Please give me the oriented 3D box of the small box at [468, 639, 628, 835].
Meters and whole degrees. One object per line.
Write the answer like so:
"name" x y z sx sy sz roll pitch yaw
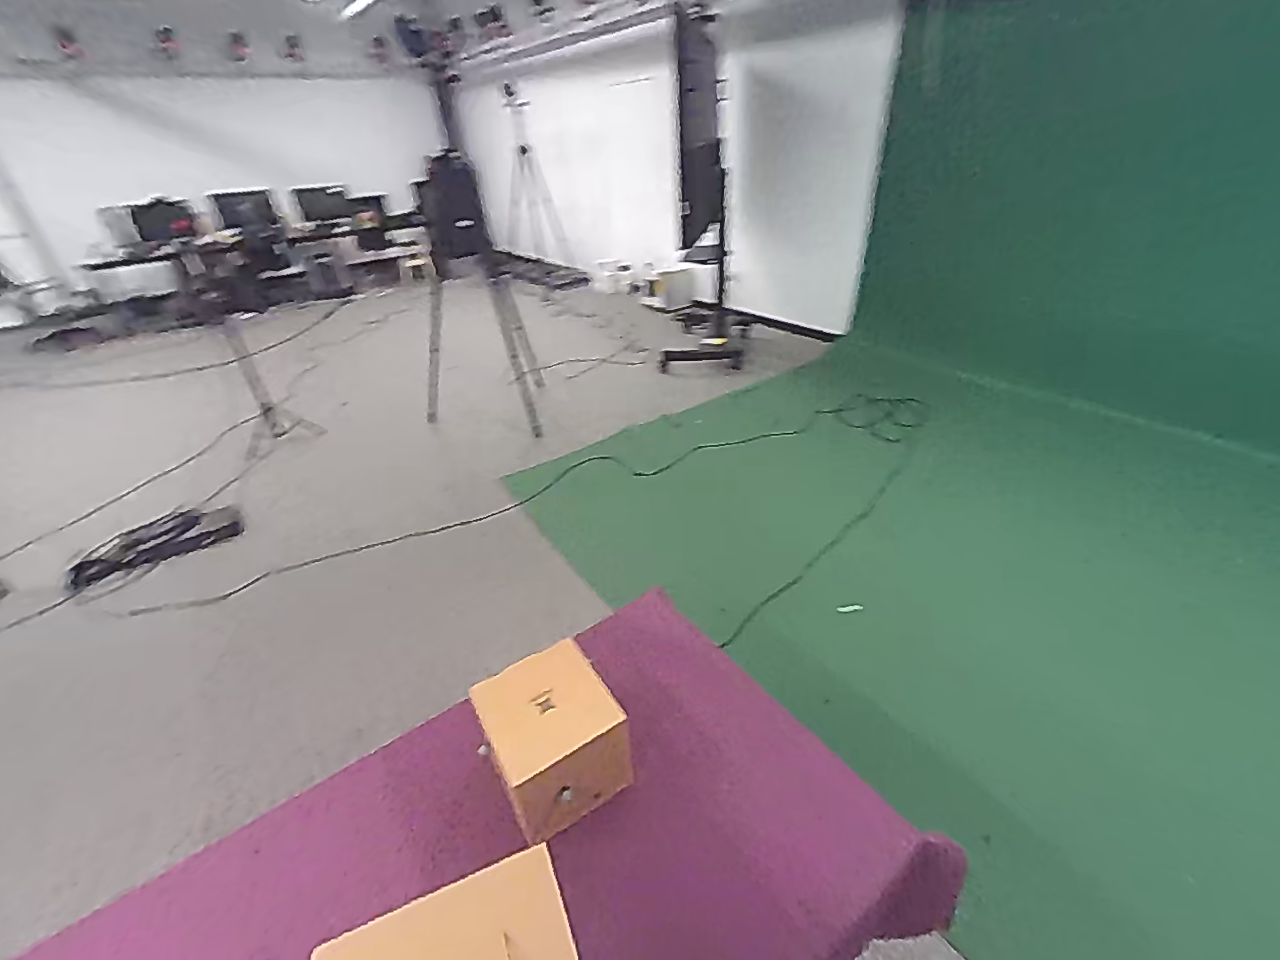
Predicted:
"small box" -0.130 0.379 0.796 0.168 0.176 0.179 -22 36 -26

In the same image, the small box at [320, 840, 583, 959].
"small box" -0.126 0.428 0.414 0.179 0.176 0.168 -12 41 -21
